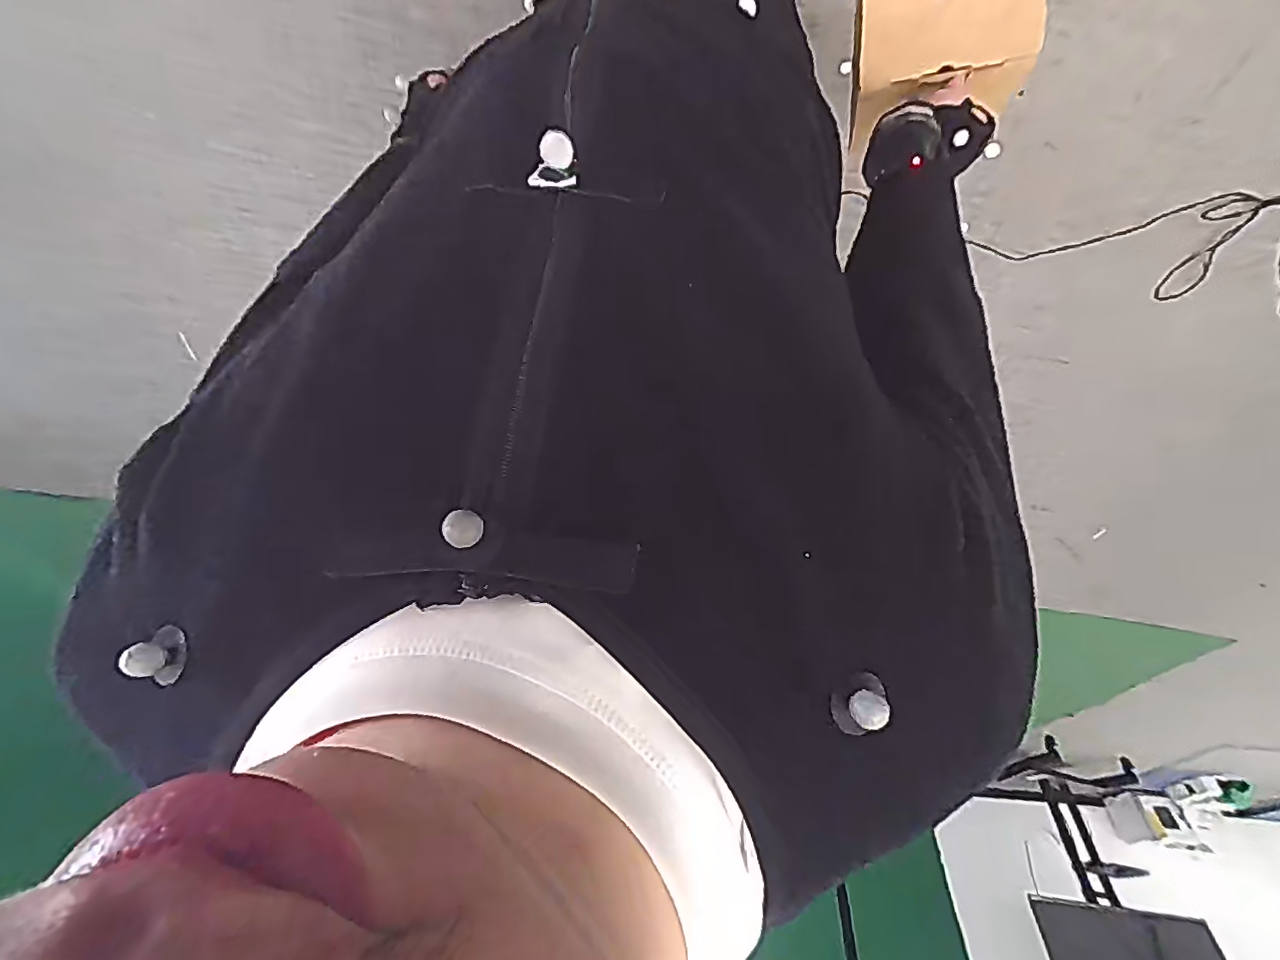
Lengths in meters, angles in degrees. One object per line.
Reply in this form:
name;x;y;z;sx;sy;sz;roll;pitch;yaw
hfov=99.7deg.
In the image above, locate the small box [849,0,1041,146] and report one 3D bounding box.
small box;0.332;-0.505;0.612;0.168;0.176;0.179;3;99;17
